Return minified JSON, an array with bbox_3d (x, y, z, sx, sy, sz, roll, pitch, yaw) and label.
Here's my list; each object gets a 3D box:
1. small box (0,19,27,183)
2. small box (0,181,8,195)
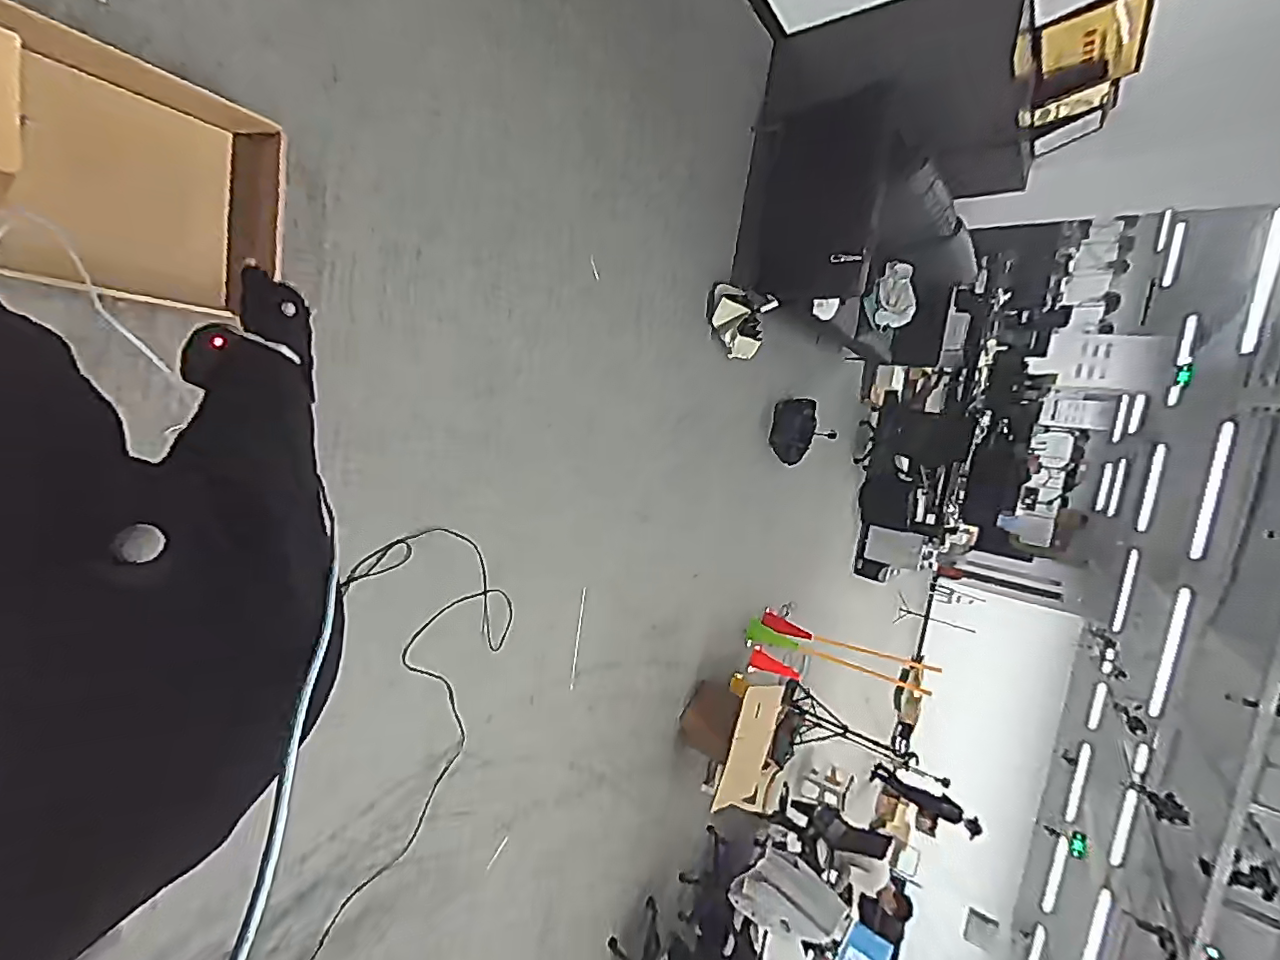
[{"bbox_3d":[-0.916,-0.509,0.687,0.168,0.176,0.179,-2,102,-54],"label":"small box"},{"bbox_3d":[-1.045,-0.536,0.782,0.168,0.176,0.179,1,100,-53],"label":"small box"}]
